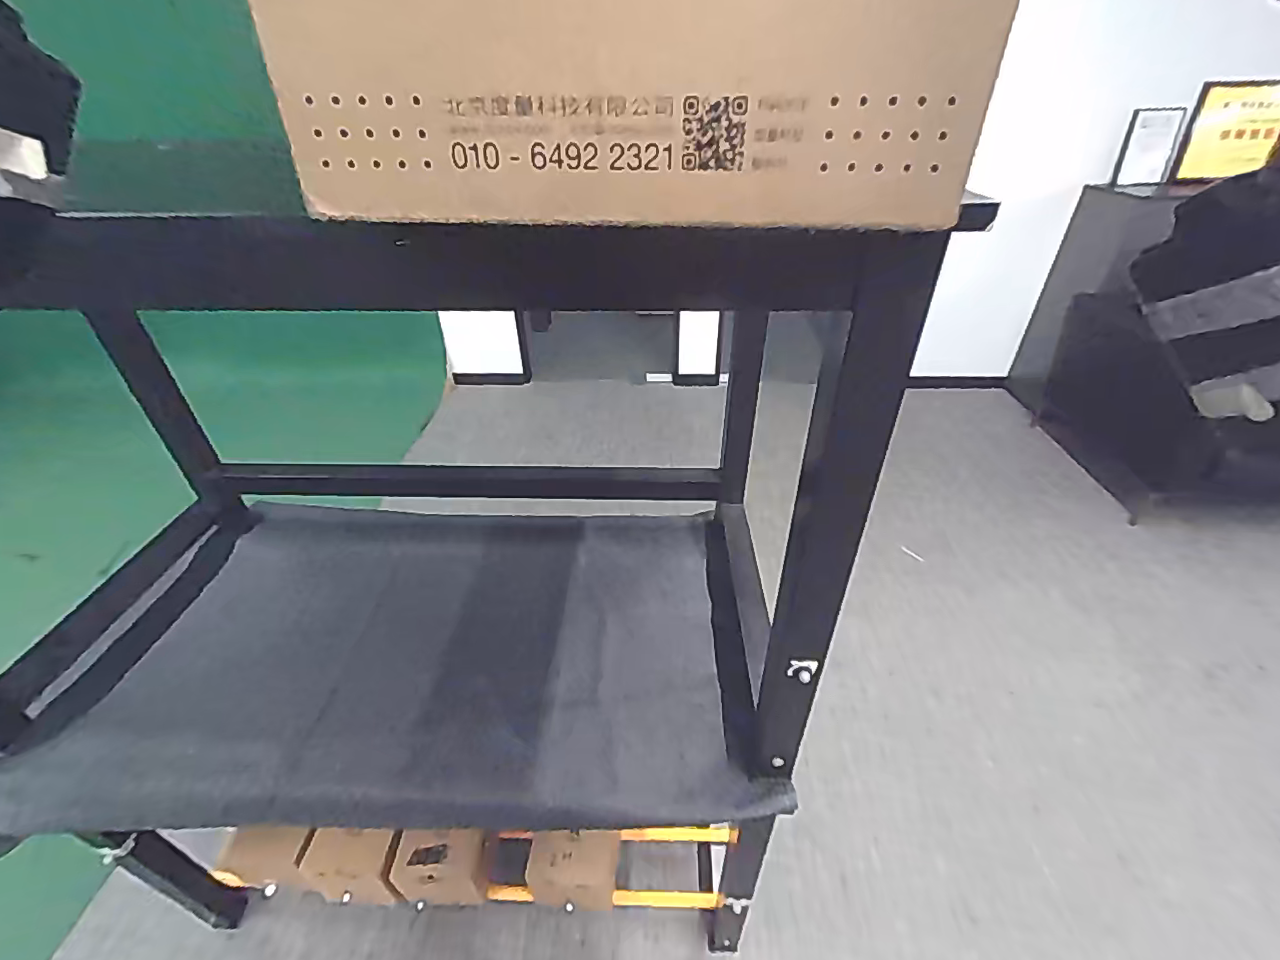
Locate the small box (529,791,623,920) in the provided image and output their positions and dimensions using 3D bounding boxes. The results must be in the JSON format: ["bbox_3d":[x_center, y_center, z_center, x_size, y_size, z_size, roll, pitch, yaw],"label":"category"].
[{"bbox_3d":[-0.129,0.814,1.175,0.168,0.176,0.179,3,38,7],"label":"small box"}]
